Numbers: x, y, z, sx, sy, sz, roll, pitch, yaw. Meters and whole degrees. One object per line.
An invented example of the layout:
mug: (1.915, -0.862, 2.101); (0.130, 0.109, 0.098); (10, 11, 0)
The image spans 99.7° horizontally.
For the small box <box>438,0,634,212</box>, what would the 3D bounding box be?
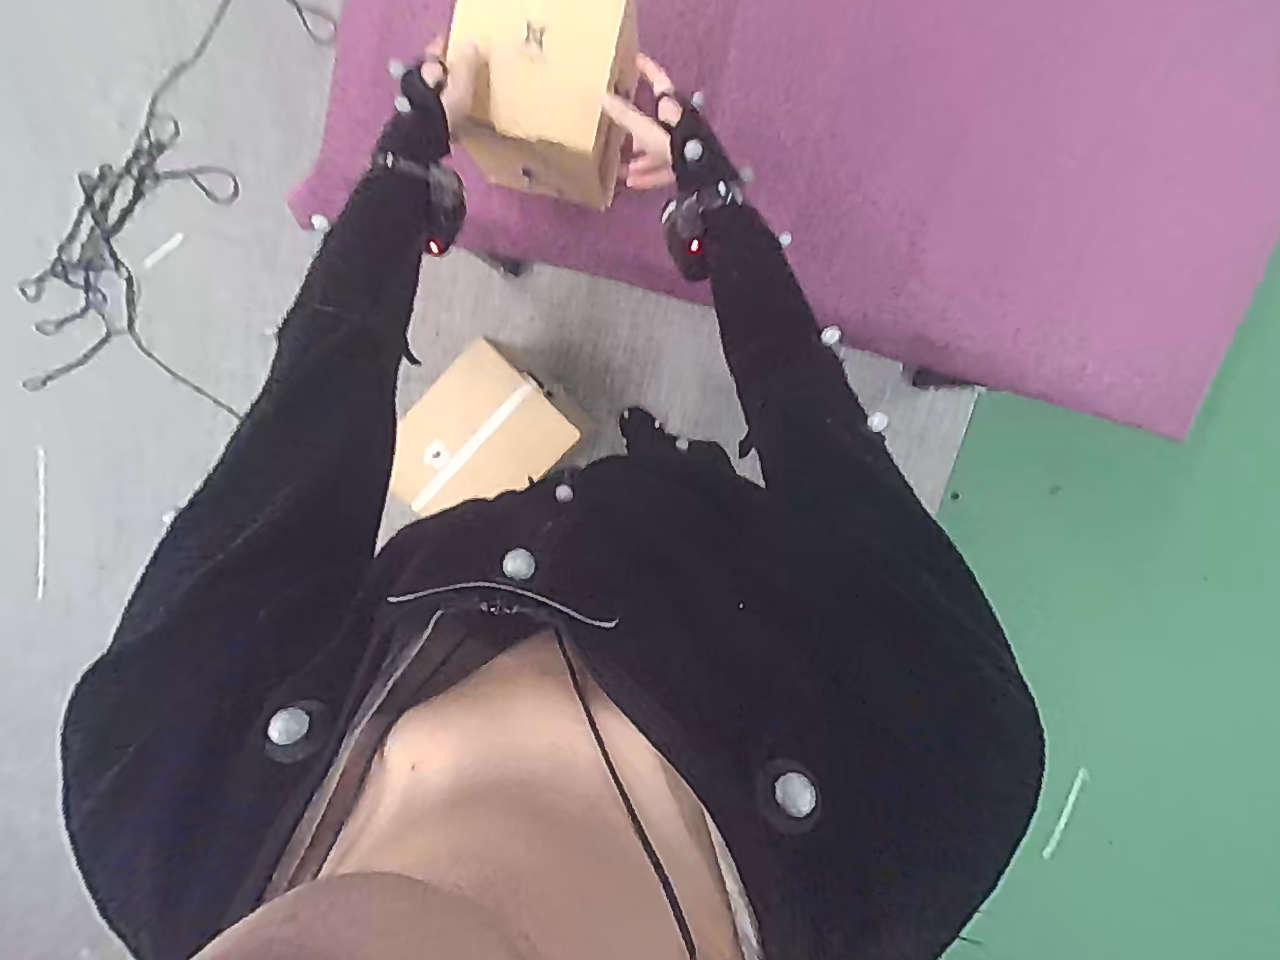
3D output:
small box: (-0.105, -0.438, 0.614); (0.168, 0.176, 0.179); (14, 99, 0)
